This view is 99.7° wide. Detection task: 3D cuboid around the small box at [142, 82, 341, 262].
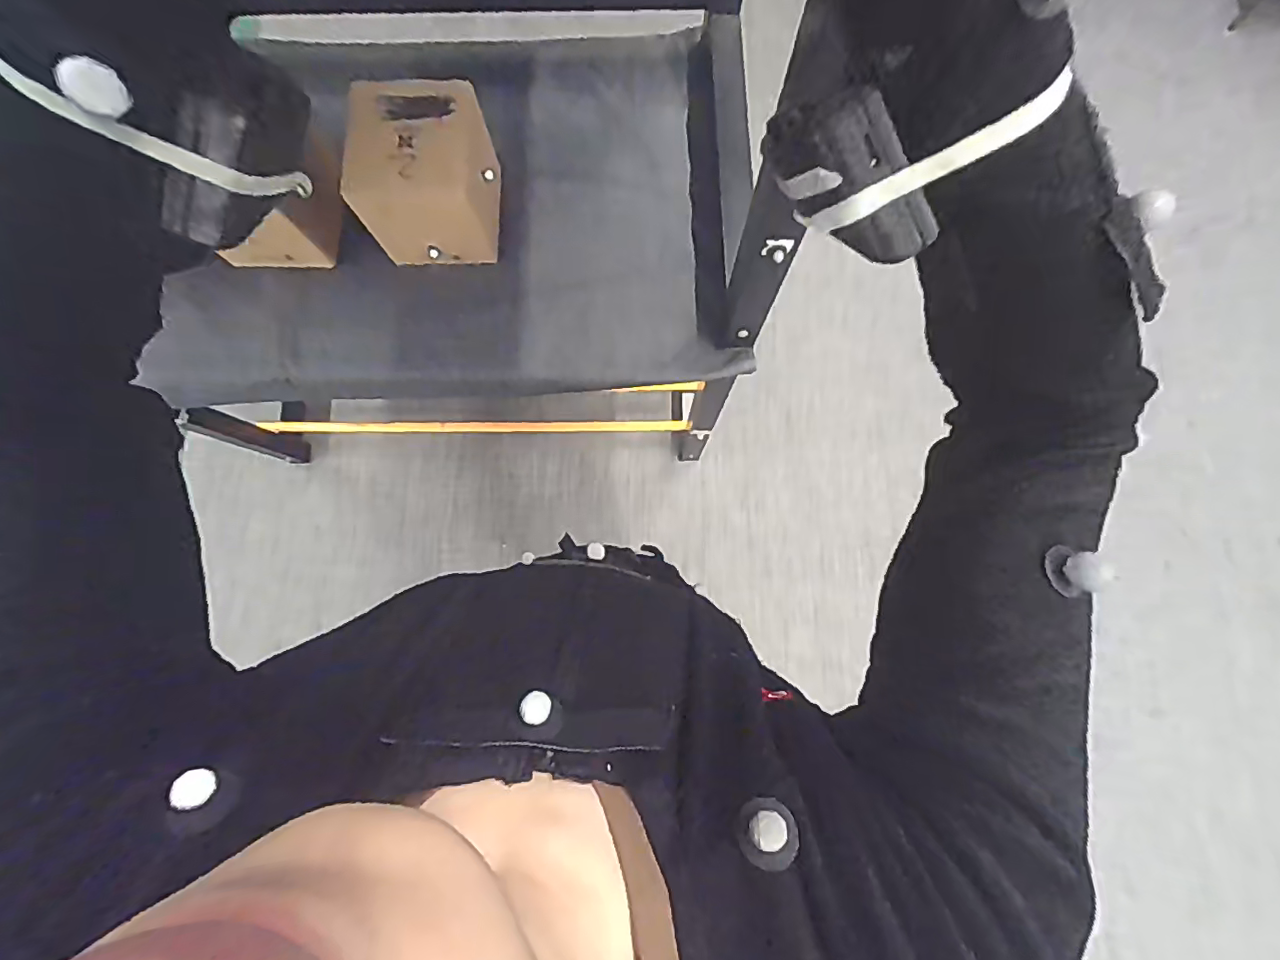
[{"bbox_3d":[-0.572,-0.444,0.802,0.168,0.176,0.179,1,80,0],"label":"small box"}]
